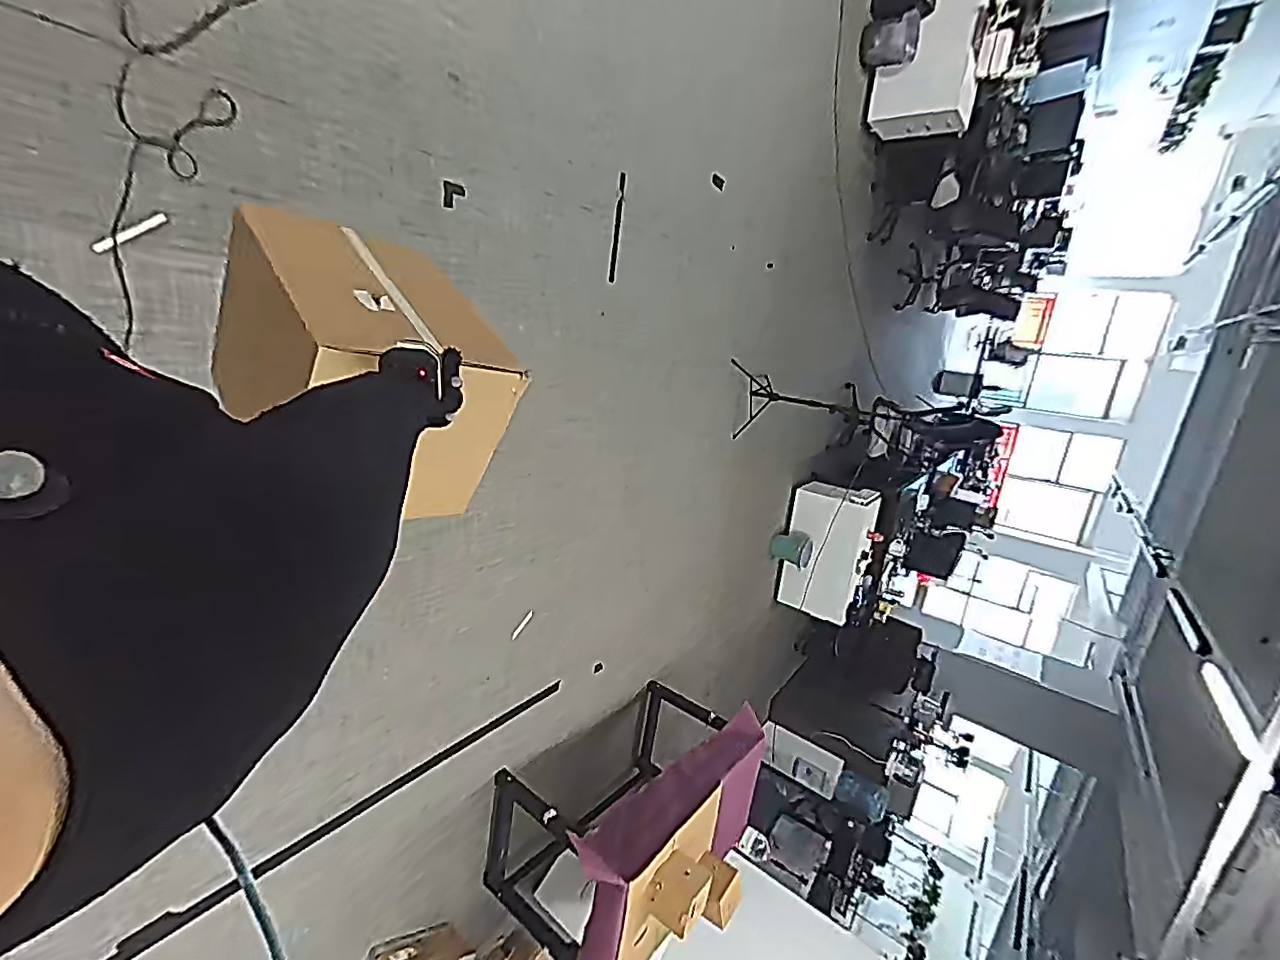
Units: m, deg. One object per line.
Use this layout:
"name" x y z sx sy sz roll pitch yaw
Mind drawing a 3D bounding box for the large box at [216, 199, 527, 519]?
"large box" -0.470 -0.190 0.921 0.320 0.408 0.320 -4 137 -49
